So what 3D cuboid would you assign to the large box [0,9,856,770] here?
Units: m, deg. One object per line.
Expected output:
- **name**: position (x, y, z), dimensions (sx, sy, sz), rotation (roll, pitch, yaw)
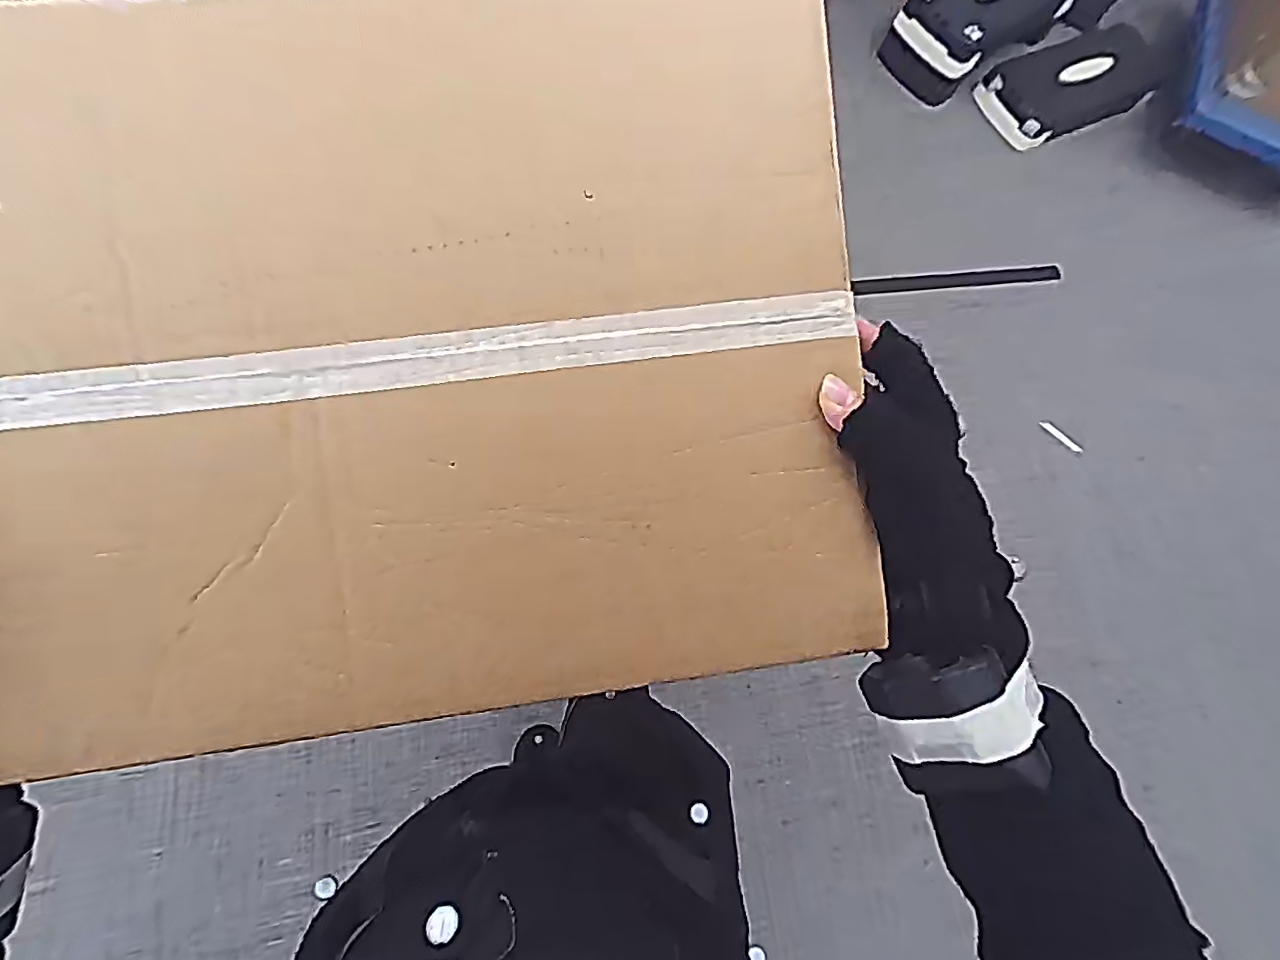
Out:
- **large box**: position (-0.116, -0.053, 0.394), dimensions (0.408, 0.320, 0.320), rotation (-6, 91, -5)
